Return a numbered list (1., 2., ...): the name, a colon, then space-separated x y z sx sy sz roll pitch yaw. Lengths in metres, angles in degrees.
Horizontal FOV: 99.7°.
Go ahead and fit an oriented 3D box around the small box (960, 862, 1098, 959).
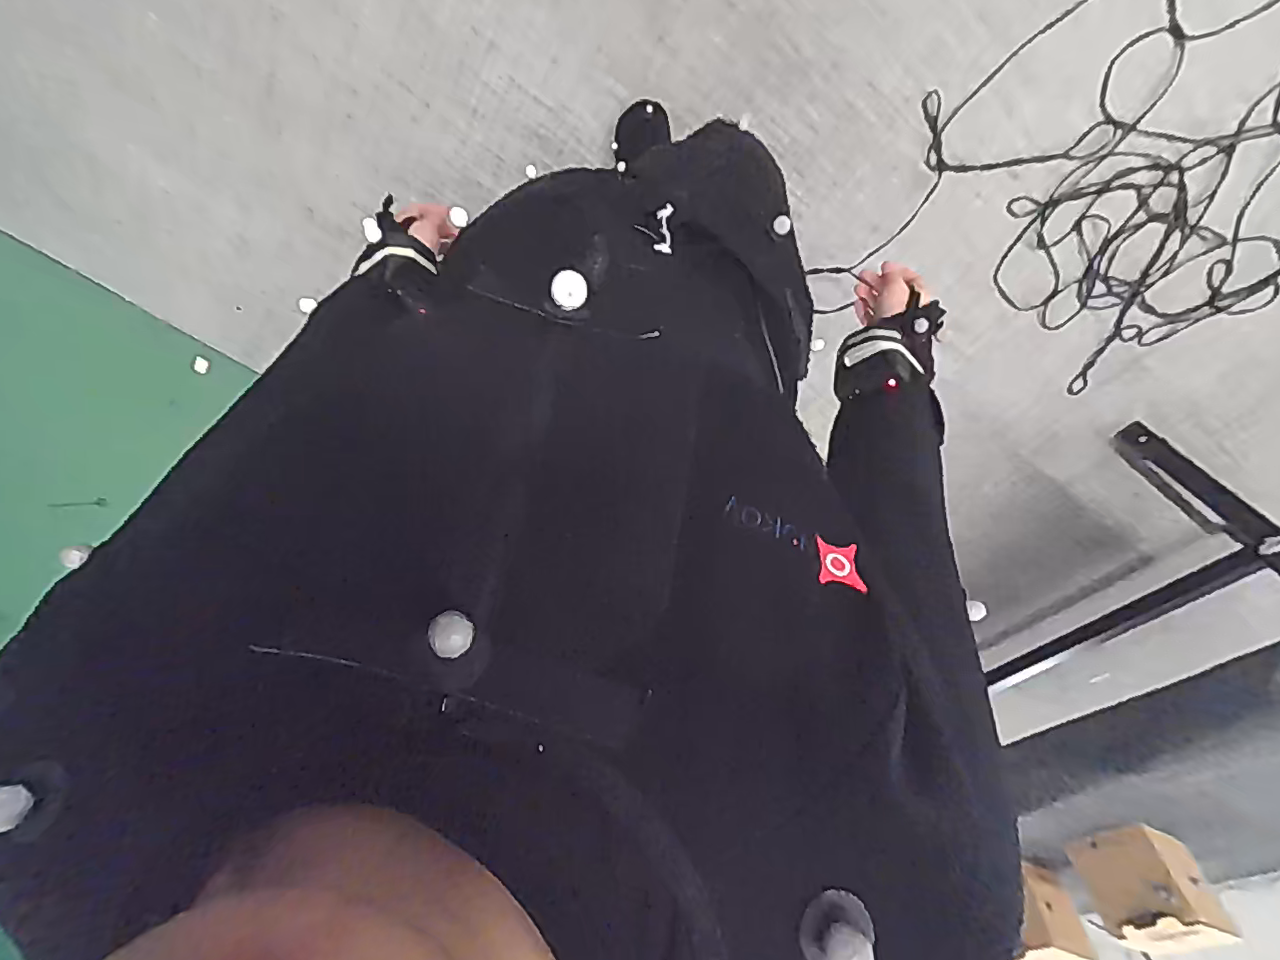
1. small box: 0.893 1.019 1.259 0.179 0.176 0.168 29 125 -18
